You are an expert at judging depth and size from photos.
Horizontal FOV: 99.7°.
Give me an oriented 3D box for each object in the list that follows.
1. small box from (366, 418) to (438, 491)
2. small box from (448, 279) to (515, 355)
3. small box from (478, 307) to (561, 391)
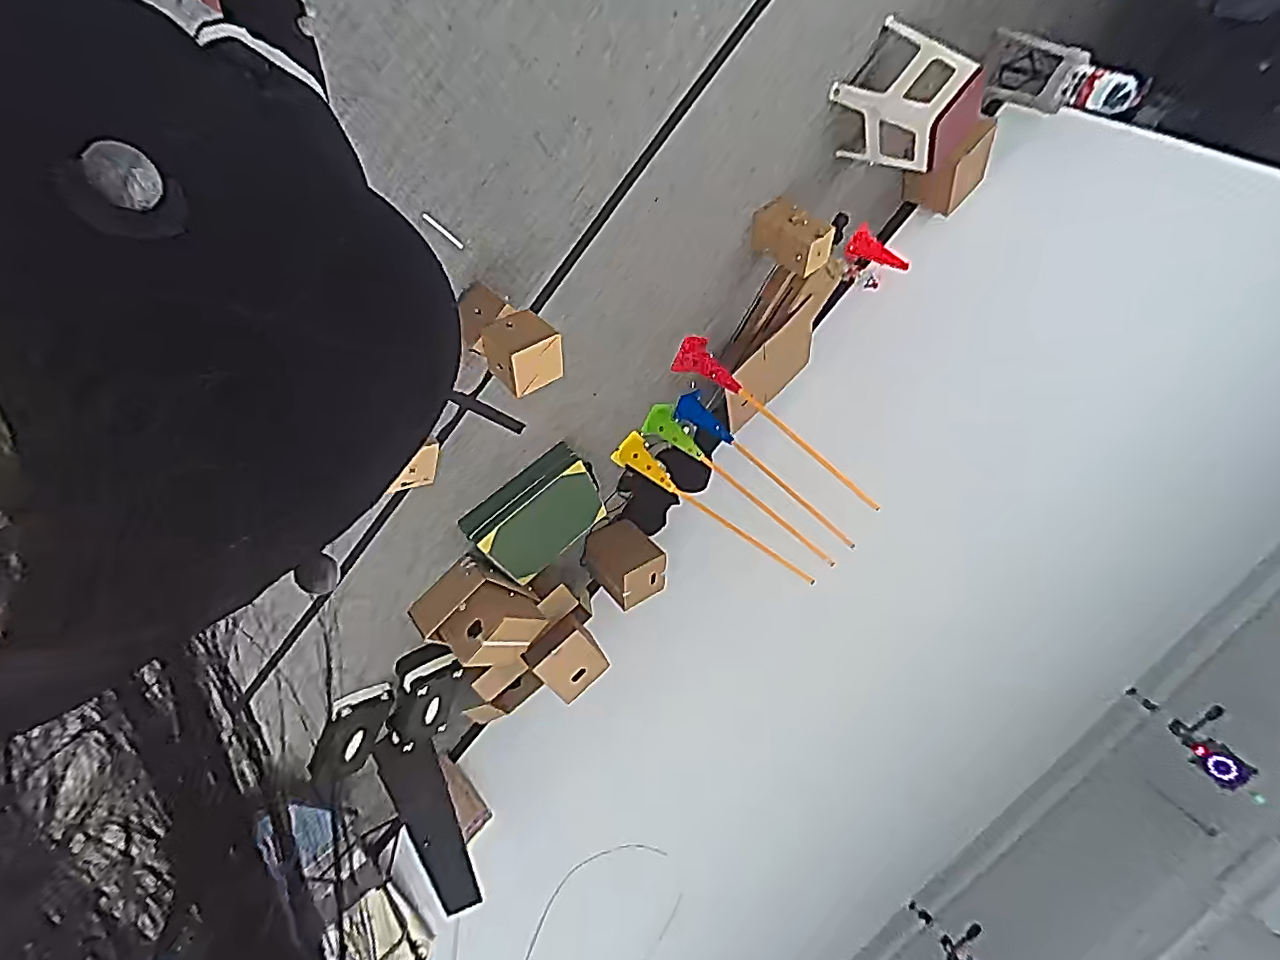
[{"bbox_3d":[-0.805,-0.094,1.820,0.168,0.176,0.179,-17,140,-44],"label":"small box"},{"bbox_3d":[-0.487,-0.504,1.736,0.179,0.176,0.168,-51,154,5],"label":"small box"},{"bbox_3d":[-0.370,-0.400,1.674,0.179,0.176,0.168,-35,152,-27],"label":"small box"}]
